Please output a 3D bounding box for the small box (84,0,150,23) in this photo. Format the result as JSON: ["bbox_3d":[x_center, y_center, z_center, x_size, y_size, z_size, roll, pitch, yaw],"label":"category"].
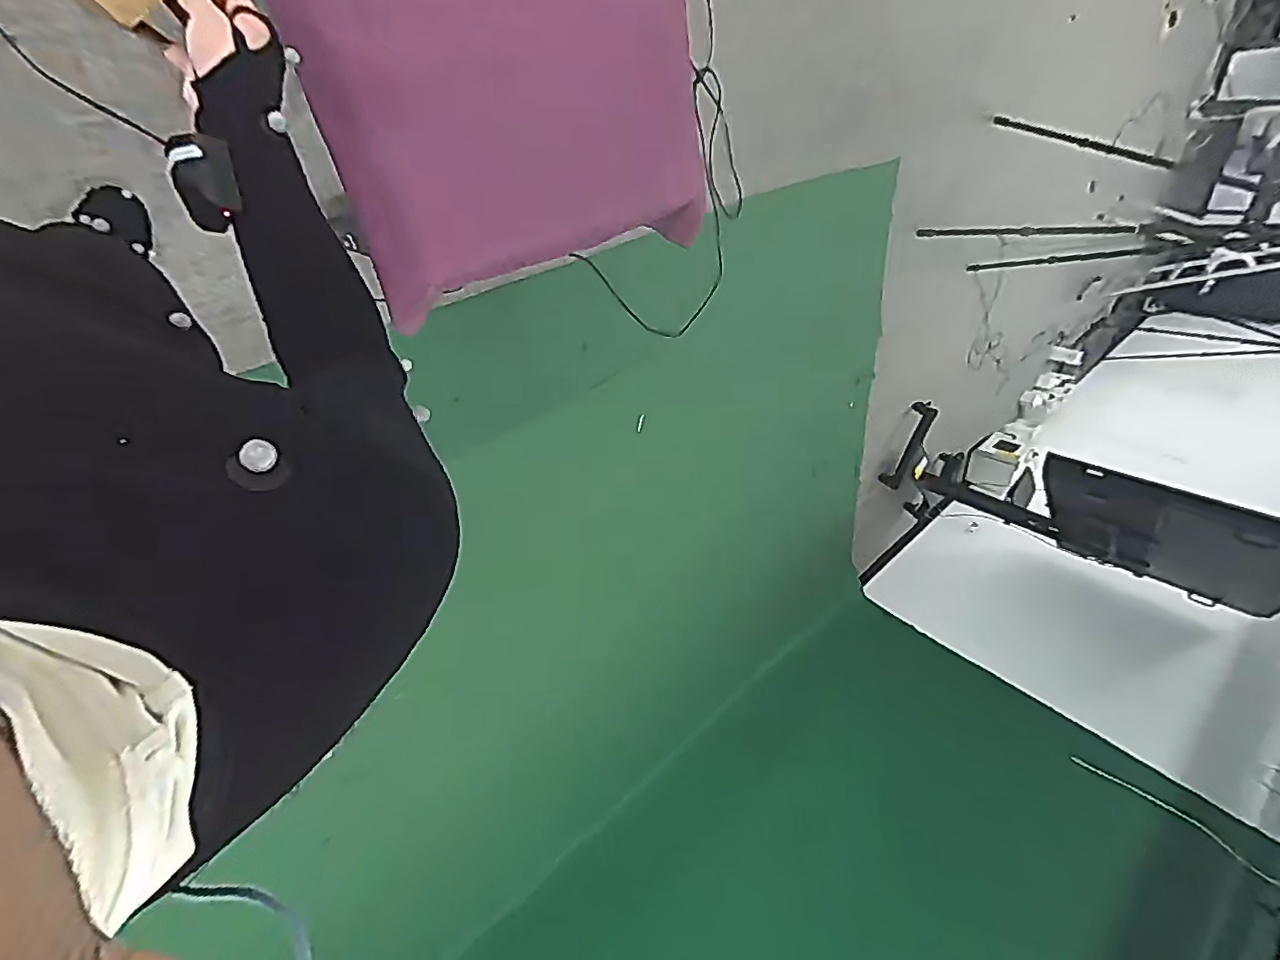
[{"bbox_3d":[-0.451,-0.509,0.423,0.179,0.176,0.168,-50,149,-4],"label":"small box"}]

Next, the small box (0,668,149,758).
[{"bbox_3d":[-1.231,0.545,1.187,0.168,0.176,0.179,-31,130,-24],"label":"small box"}]

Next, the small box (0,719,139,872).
[{"bbox_3d":[-1.143,0.613,1.066,0.168,0.176,0.179,-36,130,-21],"label":"small box"}]
